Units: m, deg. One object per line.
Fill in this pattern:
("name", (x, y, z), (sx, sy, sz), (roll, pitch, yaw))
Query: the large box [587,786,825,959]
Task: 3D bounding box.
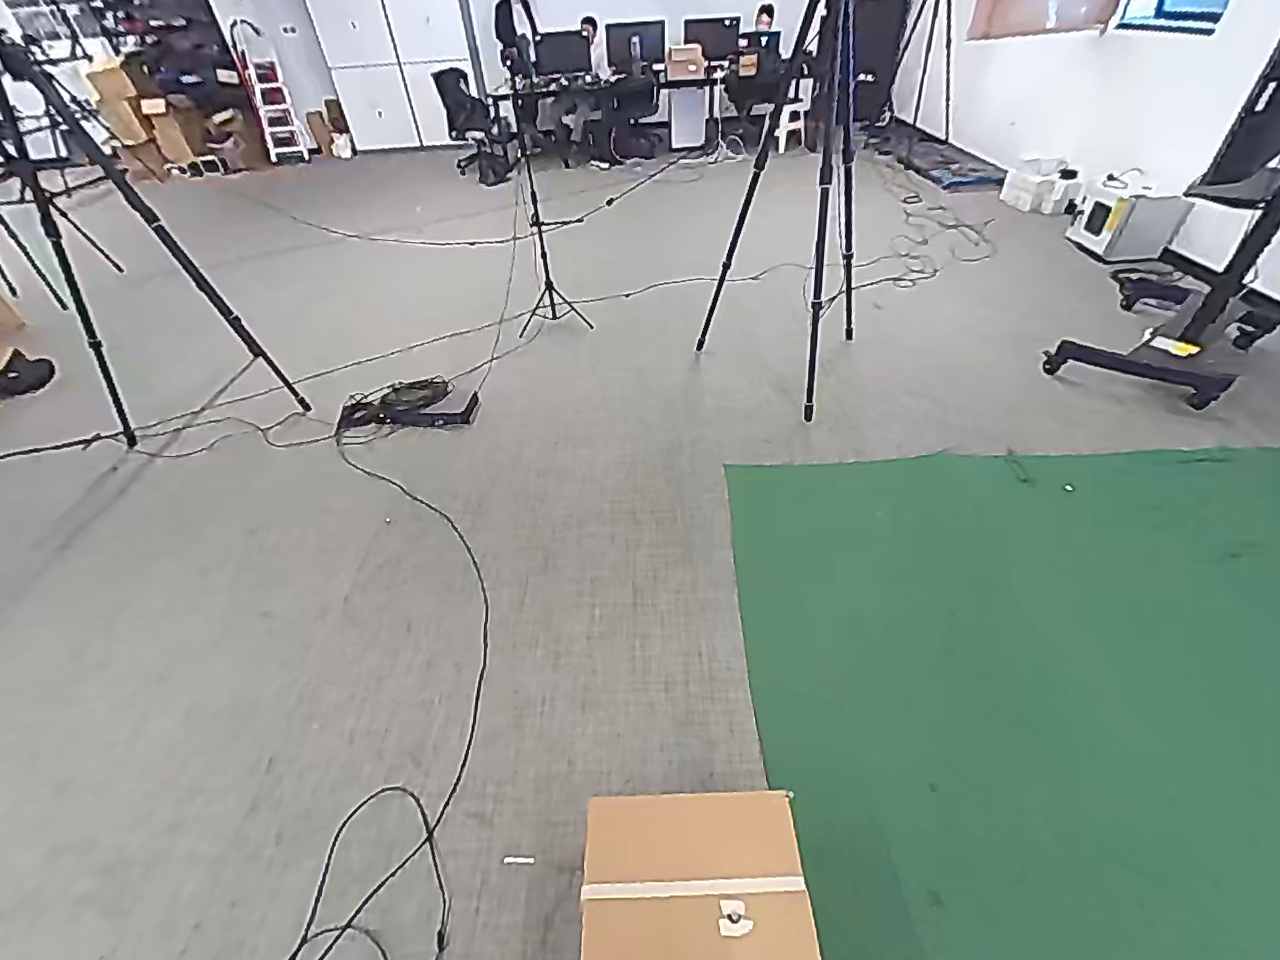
("large box", (0.110, 0.843, 1.081), (0.408, 0.320, 0.320), (-3, 42, 1))
